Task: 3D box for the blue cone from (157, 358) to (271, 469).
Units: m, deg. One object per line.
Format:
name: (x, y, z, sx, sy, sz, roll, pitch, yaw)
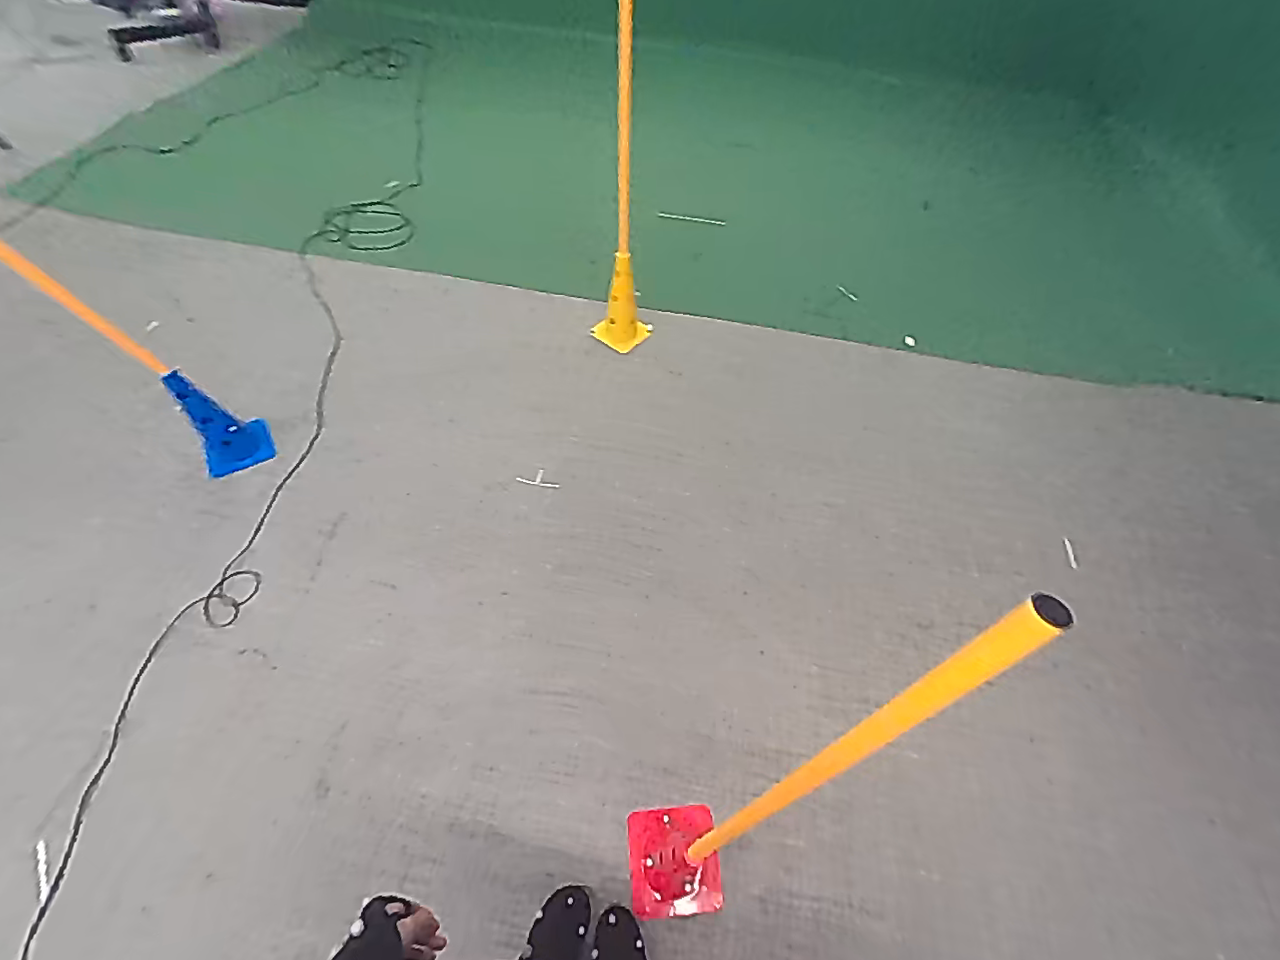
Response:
blue cone: (-1.337, -0.220, 1.665, 0.193, 0.380, 0.192, -28, 62, -19)
